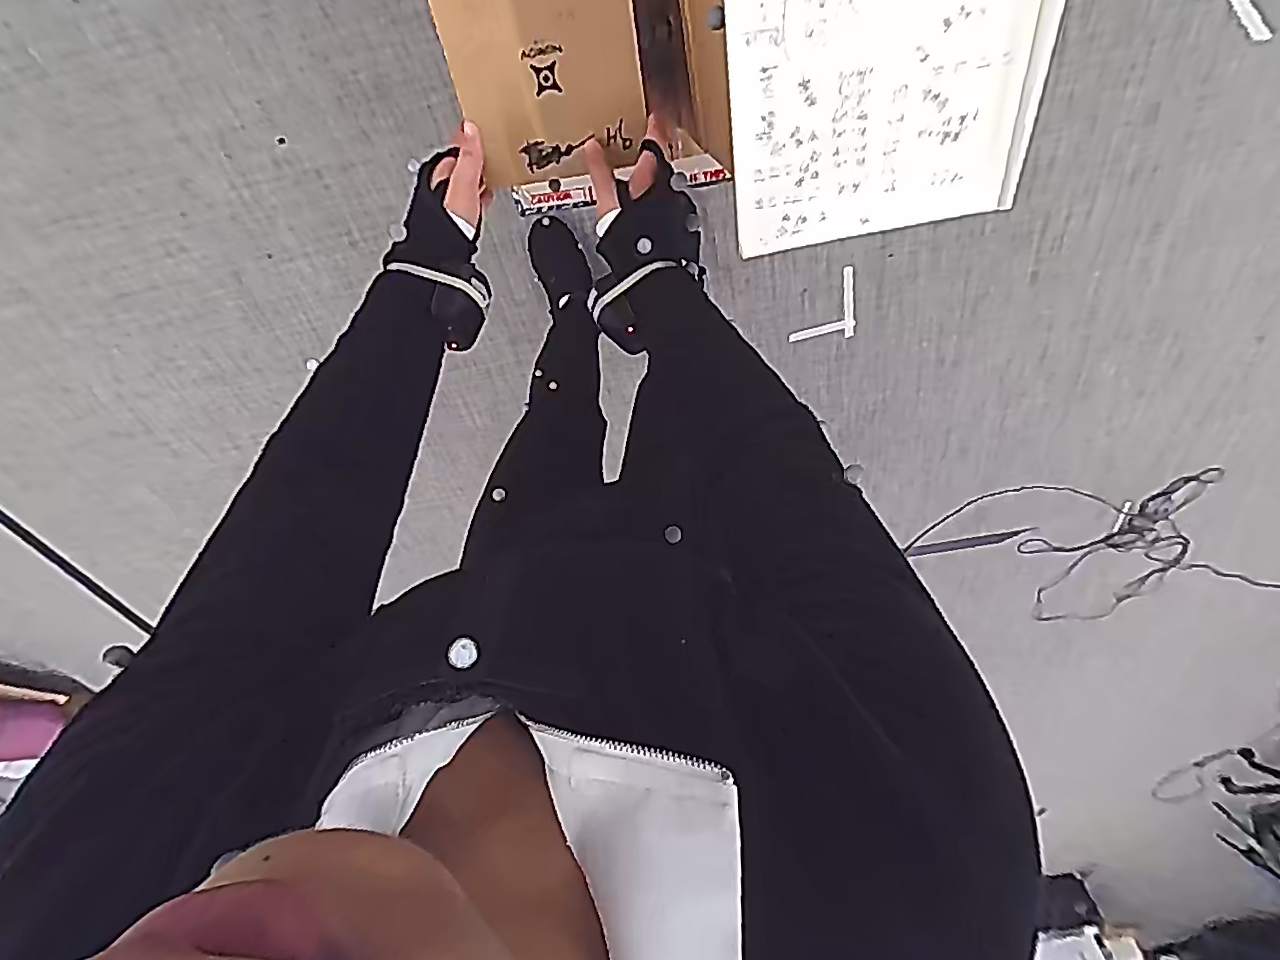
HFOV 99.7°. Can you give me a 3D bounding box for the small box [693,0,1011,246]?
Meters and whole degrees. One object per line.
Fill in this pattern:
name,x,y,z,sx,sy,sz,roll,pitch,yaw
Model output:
small box,0.137,-0.302,0.405,0.168,0.176,0.179,-10,130,2
